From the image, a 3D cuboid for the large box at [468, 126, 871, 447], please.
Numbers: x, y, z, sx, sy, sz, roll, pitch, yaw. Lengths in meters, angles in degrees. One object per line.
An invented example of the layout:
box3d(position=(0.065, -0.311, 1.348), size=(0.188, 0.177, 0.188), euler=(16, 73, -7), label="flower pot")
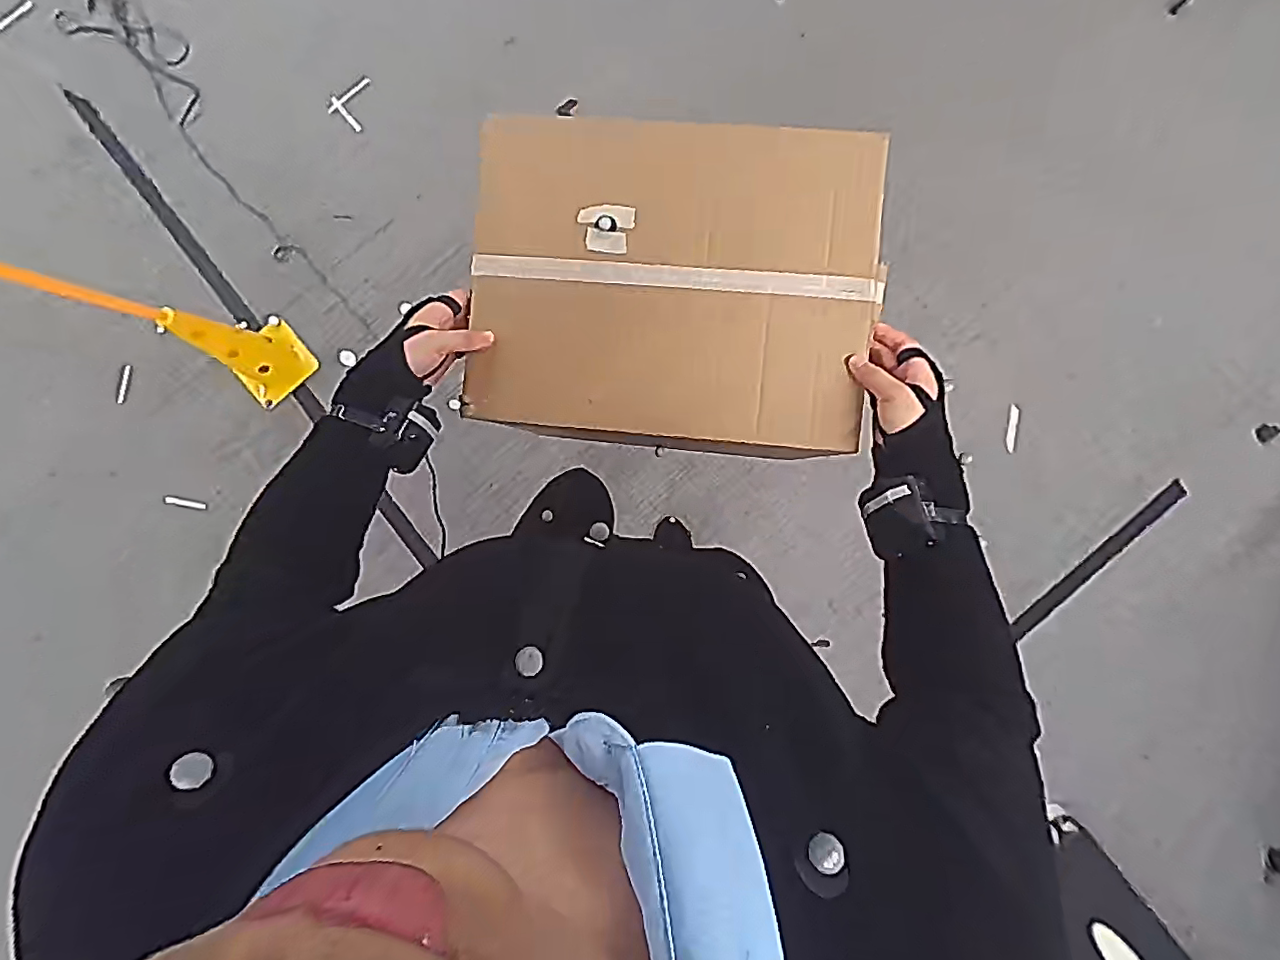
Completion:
box3d(position=(0.038, -0.210, 0.702), size=(0.408, 0.320, 0.320), euler=(5, 90, 5), label="large box")
